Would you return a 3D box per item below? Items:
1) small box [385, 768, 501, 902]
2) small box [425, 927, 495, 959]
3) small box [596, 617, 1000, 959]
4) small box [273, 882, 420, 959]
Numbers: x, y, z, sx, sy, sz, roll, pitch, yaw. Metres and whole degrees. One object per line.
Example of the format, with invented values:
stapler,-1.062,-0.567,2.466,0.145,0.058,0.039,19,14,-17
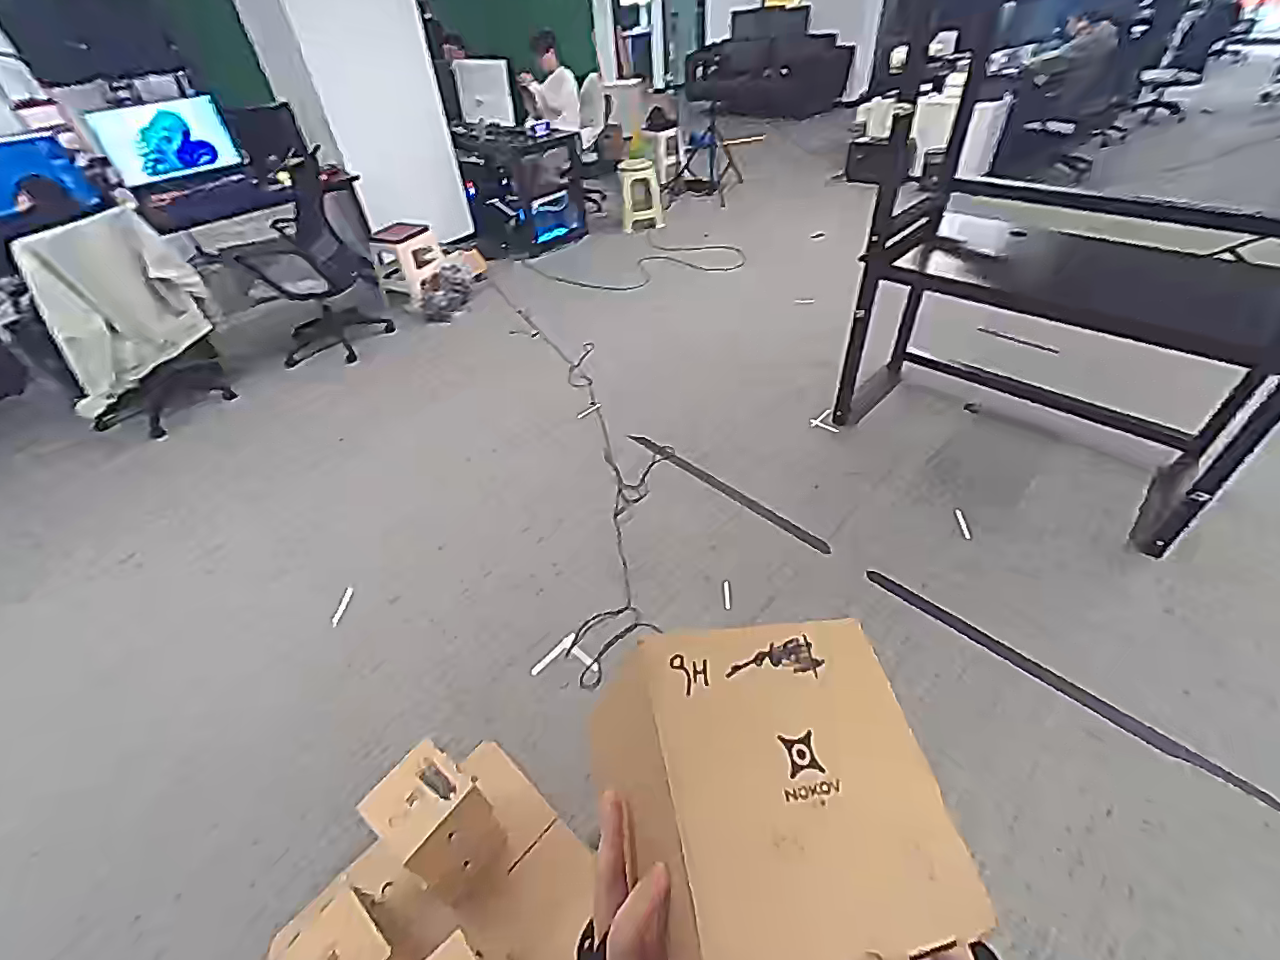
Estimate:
small box,-0.439,0.815,1.241,0.168,0.176,0.179,27,52,30
small box,-0.305,0.900,0.891,0.168,0.176,0.179,-34,51,-27
small box,0.073,0.209,0.359,0.168,0.176,0.179,2,52,-18
small box,-0.584,0.968,1.090,0.179,0.176,0.168,26,53,29
